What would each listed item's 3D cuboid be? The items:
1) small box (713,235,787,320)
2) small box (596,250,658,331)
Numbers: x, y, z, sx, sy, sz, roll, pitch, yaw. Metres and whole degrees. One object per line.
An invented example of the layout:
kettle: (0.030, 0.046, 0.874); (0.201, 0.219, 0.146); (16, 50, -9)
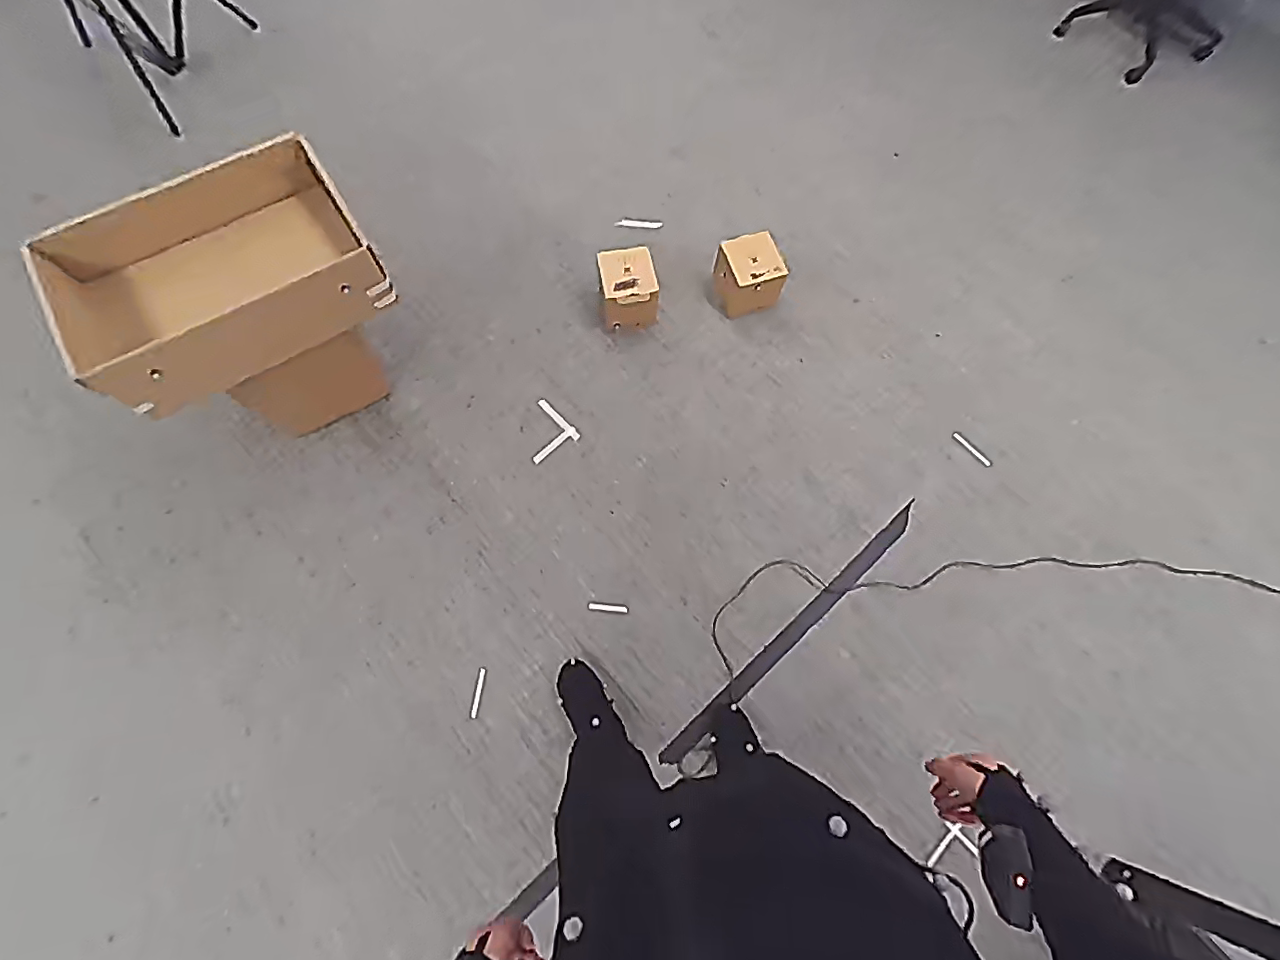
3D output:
small box: (0.349, -0.653, 1.753); (0.168, 0.176, 0.179); (-17, 72, -7)
small box: (-0.041, -0.593, 1.719); (0.168, 0.176, 0.179); (-10, 72, -6)
